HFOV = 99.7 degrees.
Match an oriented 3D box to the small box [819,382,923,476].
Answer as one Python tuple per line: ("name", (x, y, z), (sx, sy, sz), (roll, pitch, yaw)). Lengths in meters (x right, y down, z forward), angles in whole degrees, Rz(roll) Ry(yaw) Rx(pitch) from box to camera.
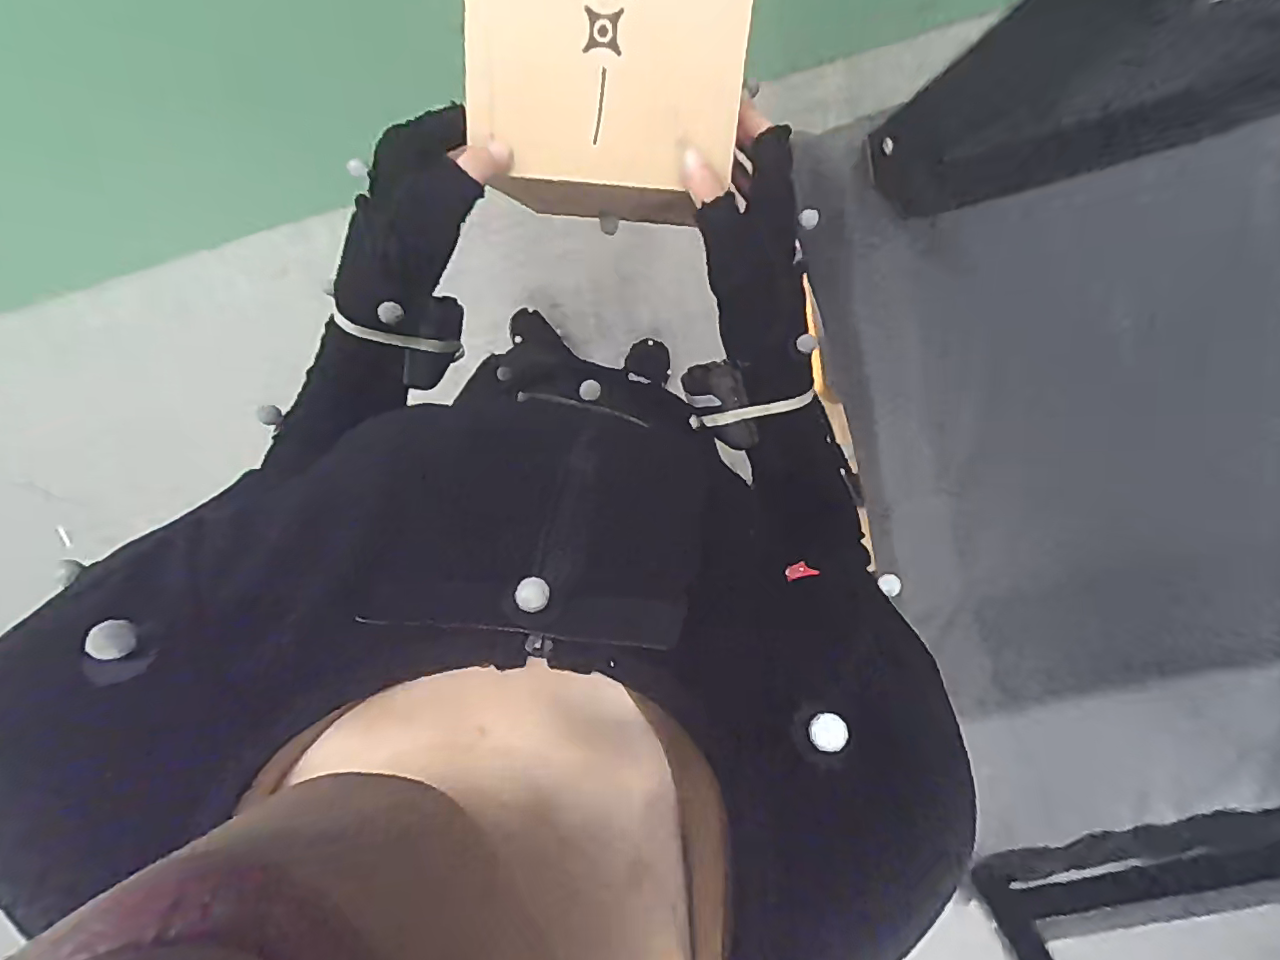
("small box", (0.524, -0.122, 1.251), (0.179, 0.176, 0.168), (-12, 106, 6))
